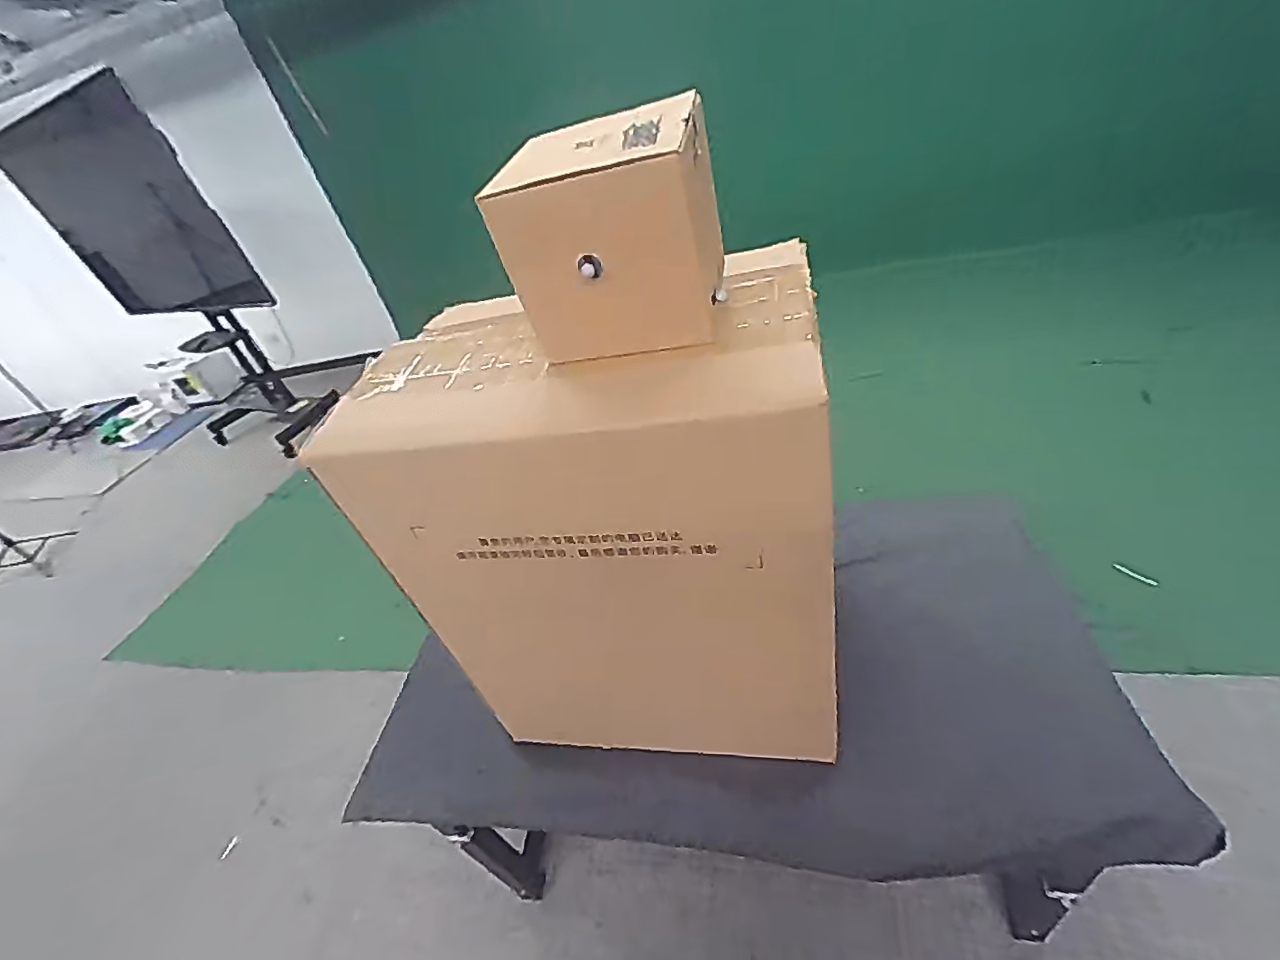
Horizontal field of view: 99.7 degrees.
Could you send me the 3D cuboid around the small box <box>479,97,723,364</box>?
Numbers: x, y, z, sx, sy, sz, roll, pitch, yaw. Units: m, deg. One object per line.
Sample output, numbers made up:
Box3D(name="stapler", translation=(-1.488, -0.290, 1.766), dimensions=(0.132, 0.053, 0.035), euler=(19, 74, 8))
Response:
Box3D(name="small box", translation=(-0.018, -0.235, 0.529), dimensions=(0.179, 0.176, 0.168), euler=(-4, 46, 18))
